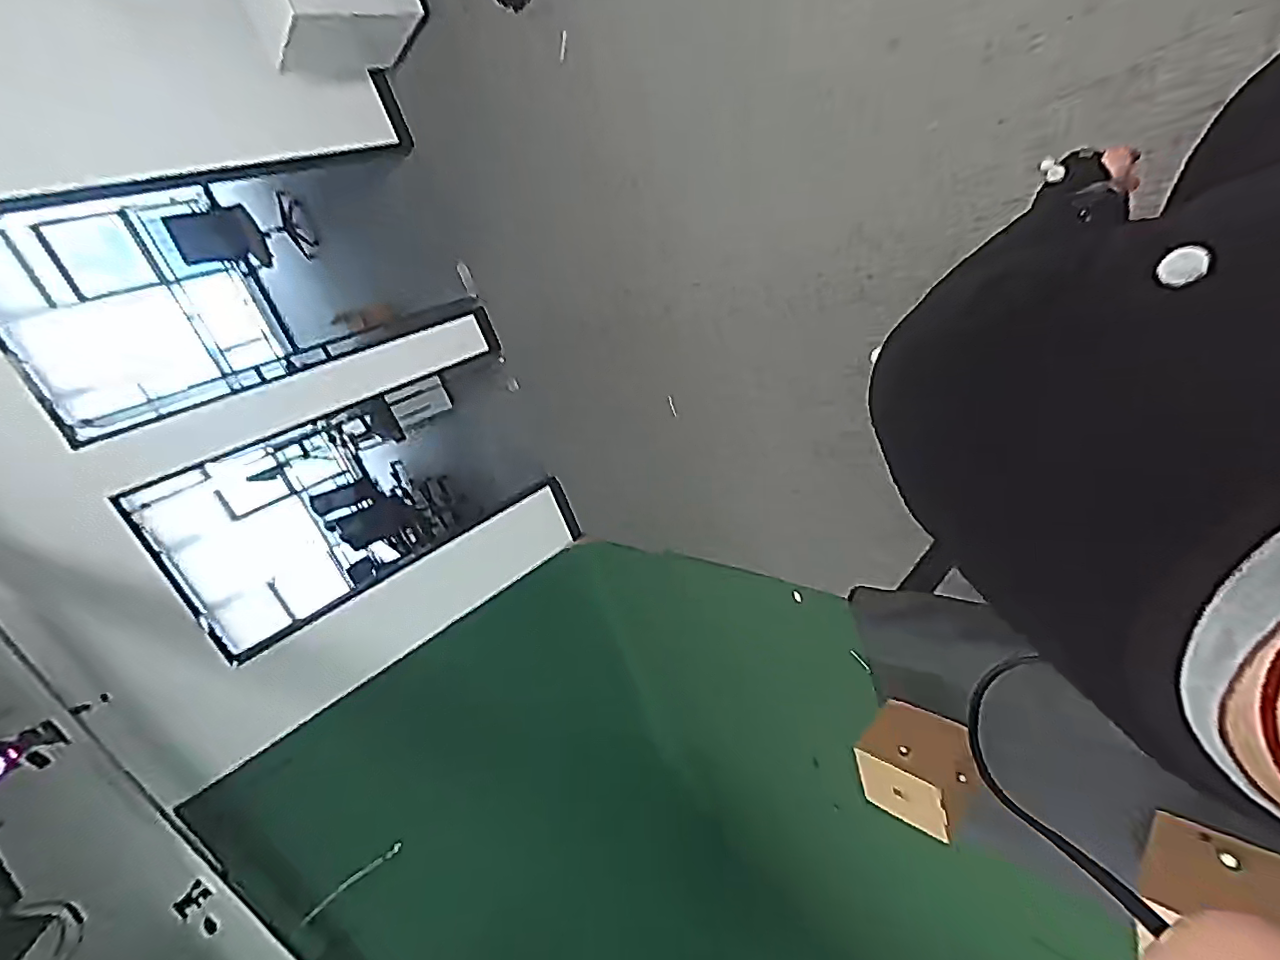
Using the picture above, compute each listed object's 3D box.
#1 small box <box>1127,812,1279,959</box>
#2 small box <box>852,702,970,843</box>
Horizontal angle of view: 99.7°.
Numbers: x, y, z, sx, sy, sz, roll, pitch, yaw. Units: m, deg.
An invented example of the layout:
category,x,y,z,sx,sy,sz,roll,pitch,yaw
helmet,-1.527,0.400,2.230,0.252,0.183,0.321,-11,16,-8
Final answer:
category,x,y,z,sx,sy,sz,roll,pitch,yaw
small box,0.881,0.670,0.833,0.168,0.176,0.179,3,119,51
small box,0.591,0.618,1.169,0.179,0.176,0.168,7,121,51
